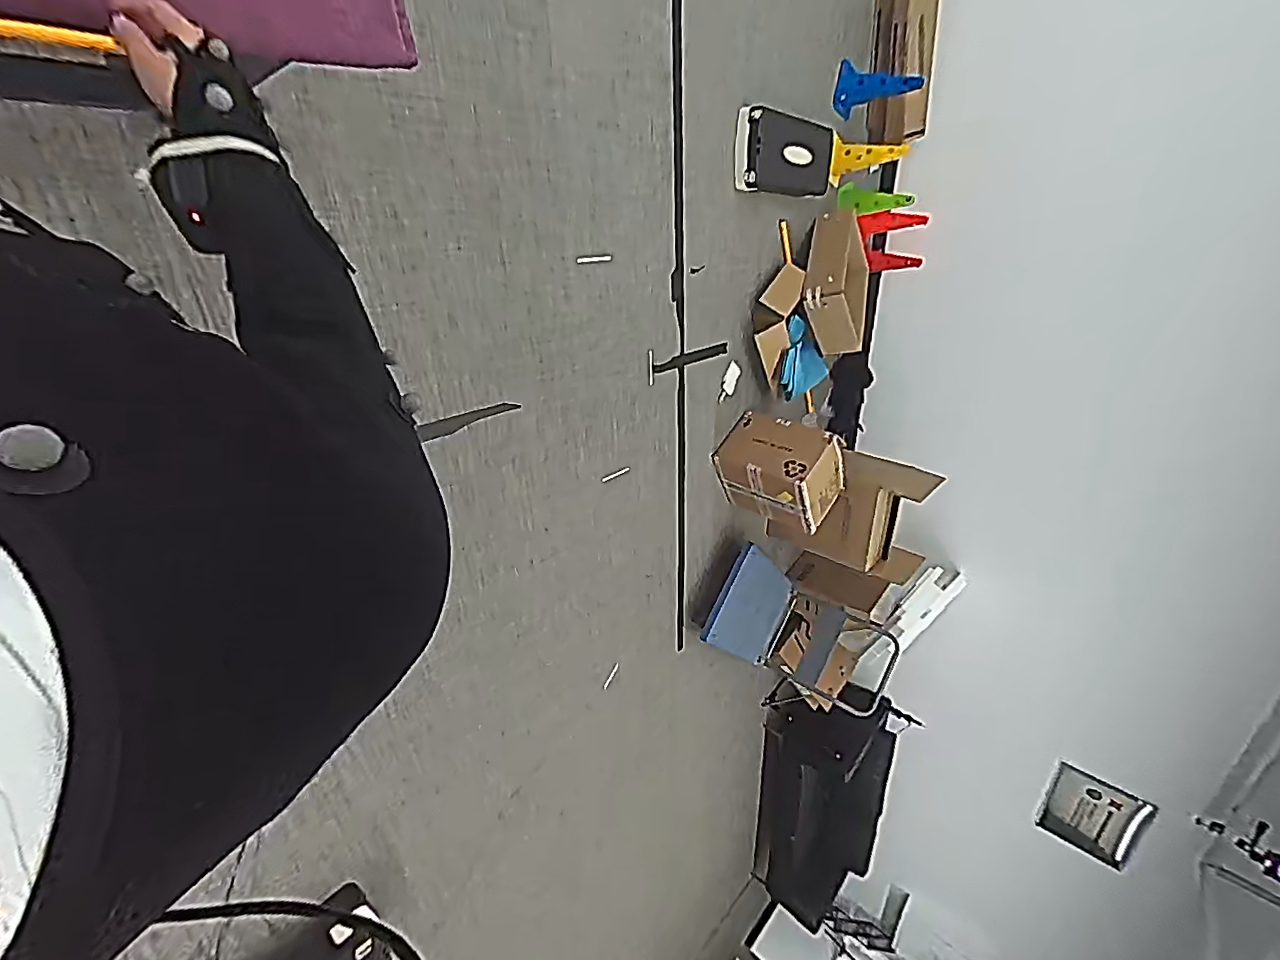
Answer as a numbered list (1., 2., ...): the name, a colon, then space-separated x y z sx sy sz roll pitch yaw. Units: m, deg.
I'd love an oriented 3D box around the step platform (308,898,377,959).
1. step platform: -1.099 1.574 1.505 0.684 0.204 0.286 -28 127 -42
